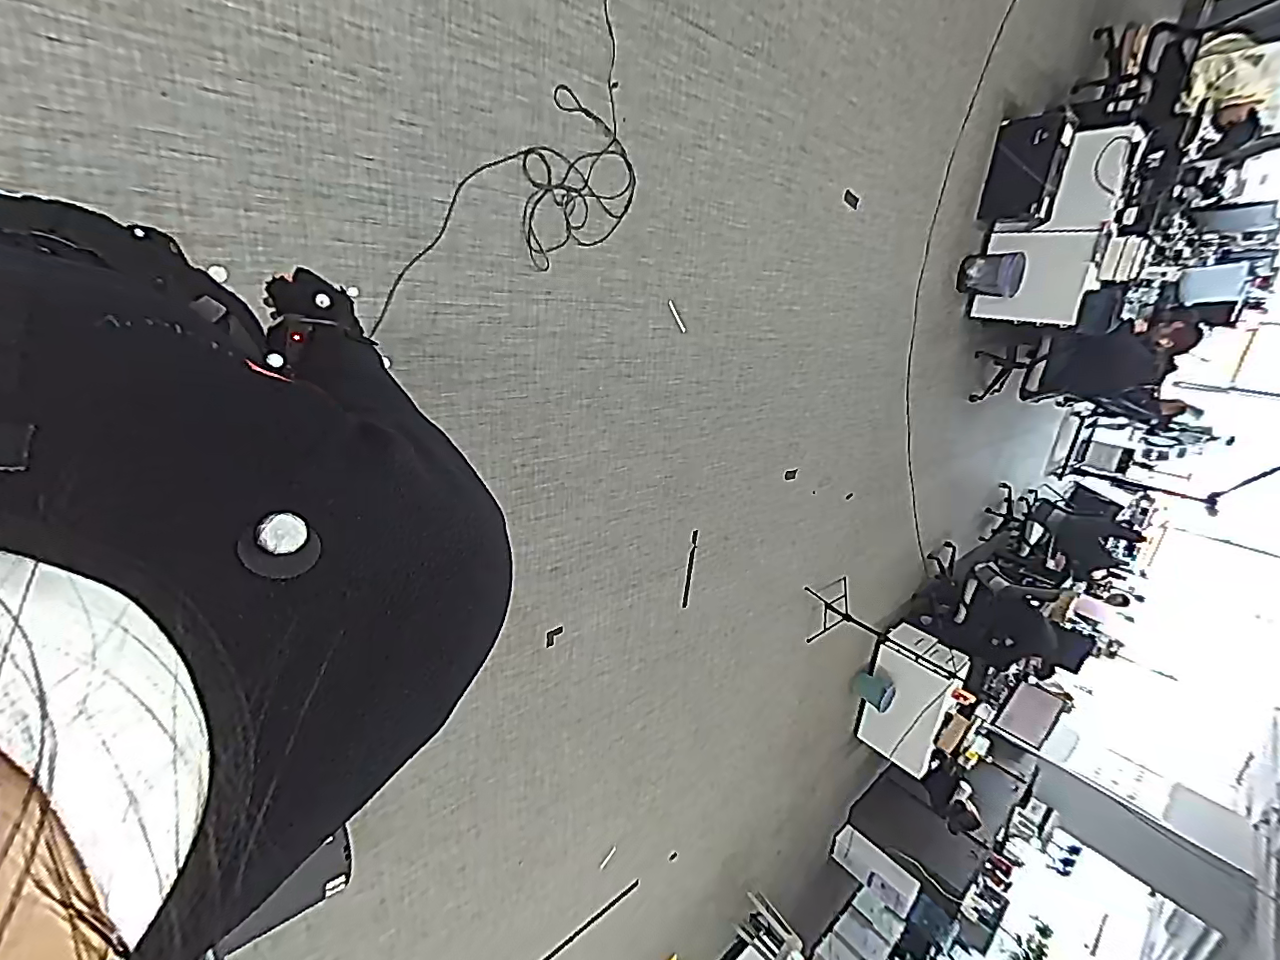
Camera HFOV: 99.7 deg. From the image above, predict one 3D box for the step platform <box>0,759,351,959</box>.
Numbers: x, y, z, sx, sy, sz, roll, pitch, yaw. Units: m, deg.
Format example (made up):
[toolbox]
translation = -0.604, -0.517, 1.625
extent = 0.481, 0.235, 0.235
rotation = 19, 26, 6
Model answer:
[step platform]
translation = -1.122, 1.025, 1.374
extent = 0.684, 0.204, 0.286
rotation = -13, 116, -38
